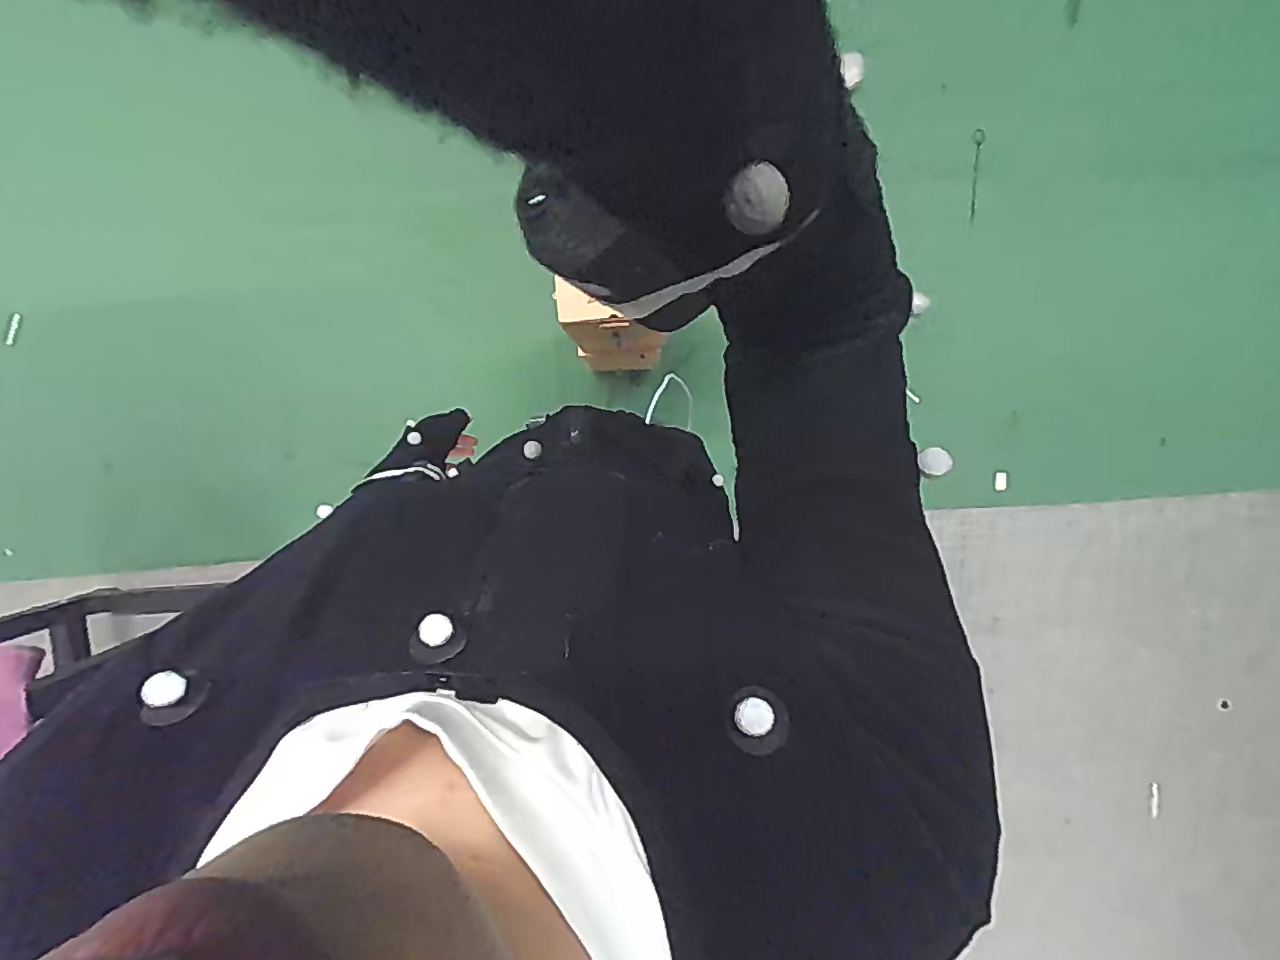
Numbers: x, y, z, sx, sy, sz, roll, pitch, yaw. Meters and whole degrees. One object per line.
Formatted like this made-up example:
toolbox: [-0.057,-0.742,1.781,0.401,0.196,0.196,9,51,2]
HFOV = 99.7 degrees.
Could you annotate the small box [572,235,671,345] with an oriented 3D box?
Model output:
small box: [-0.036,-0.355,1.026,0.179,0.176,0.168,-2,94,0]

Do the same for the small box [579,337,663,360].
small box: [-0.041,-0.360,1.193,0.179,0.176,0.168,-4,96,0]

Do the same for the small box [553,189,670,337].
small box: [-0.042,-0.336,0.865,0.168,0.176,0.179,-4,95,1]
